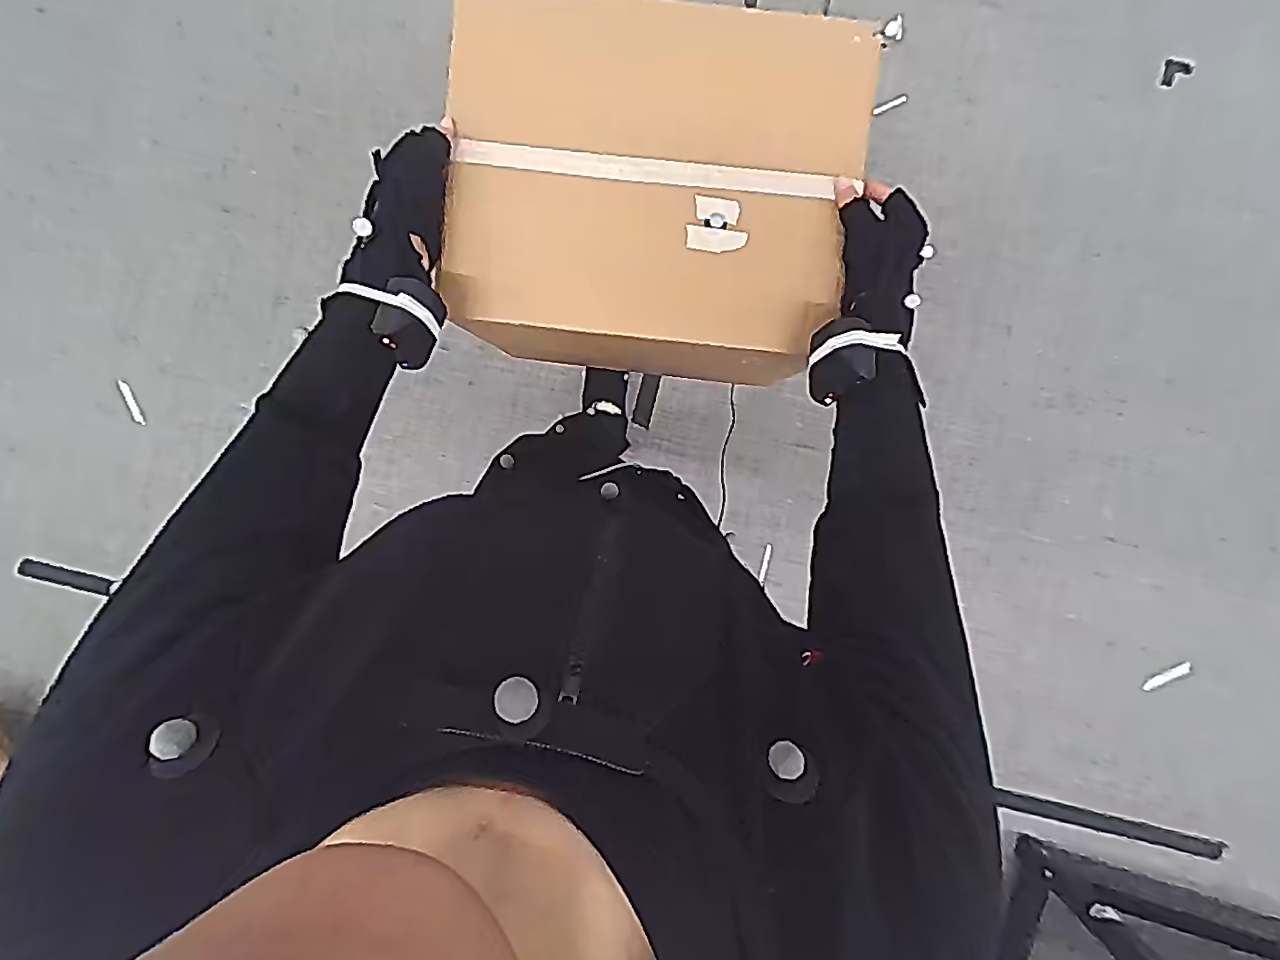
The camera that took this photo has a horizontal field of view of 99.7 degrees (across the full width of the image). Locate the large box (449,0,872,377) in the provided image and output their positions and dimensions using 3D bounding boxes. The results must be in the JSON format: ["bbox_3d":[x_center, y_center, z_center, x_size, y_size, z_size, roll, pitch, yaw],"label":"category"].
[{"bbox_3d":[0.015,-0.318,0.684,0.408,0.320,0.320,6,95,0],"label":"large box"}]
